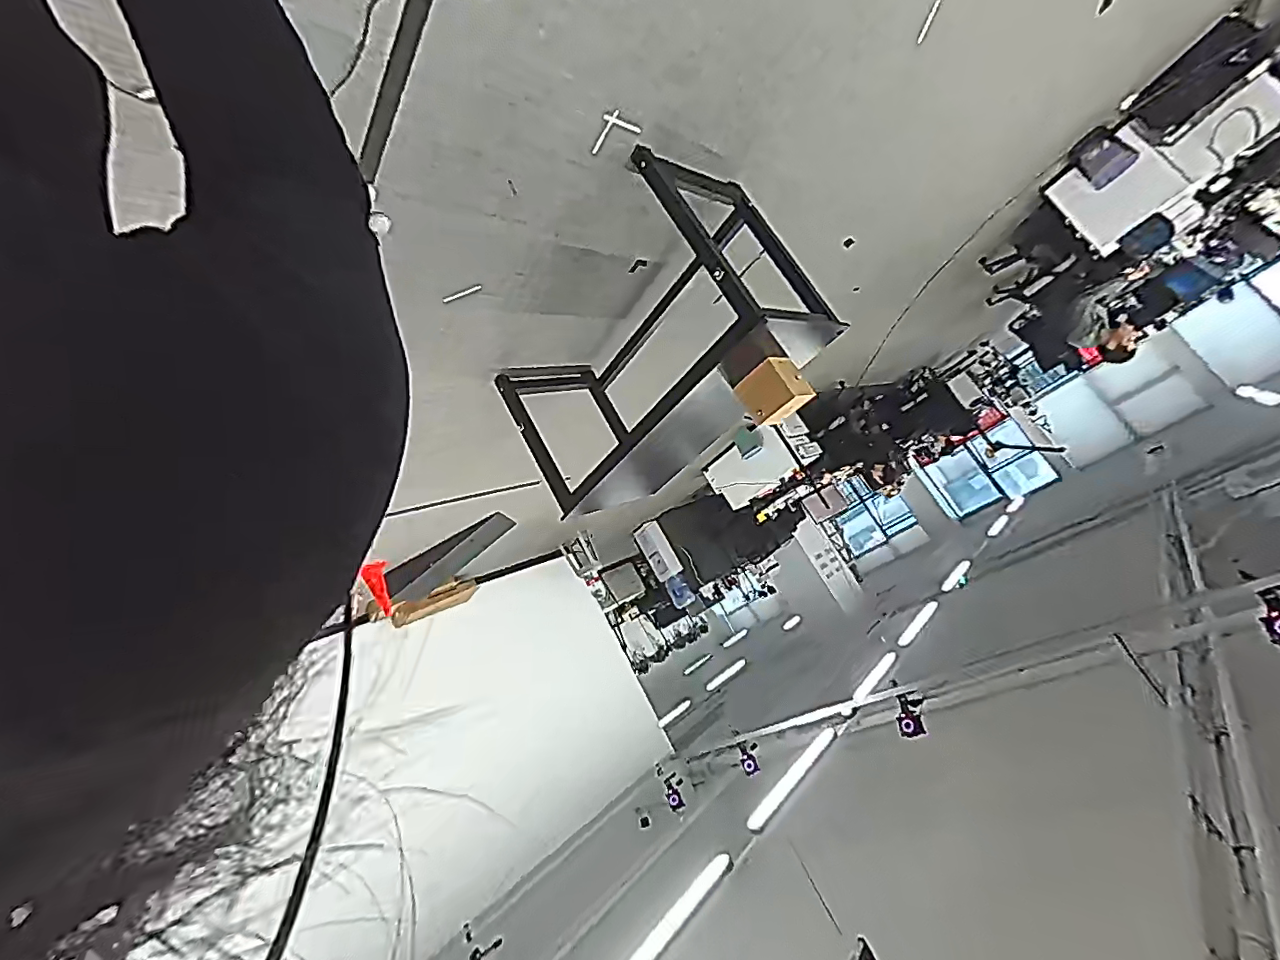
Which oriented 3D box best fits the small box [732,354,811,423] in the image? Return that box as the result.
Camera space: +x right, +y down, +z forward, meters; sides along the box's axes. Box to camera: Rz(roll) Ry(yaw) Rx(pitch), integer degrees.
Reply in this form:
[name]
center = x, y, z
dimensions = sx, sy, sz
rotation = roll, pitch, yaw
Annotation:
[small box]
center = 0.453, -0.322, 1.878
dimensions = 0.168, 0.176, 0.179
rotation = -14, 159, -48
